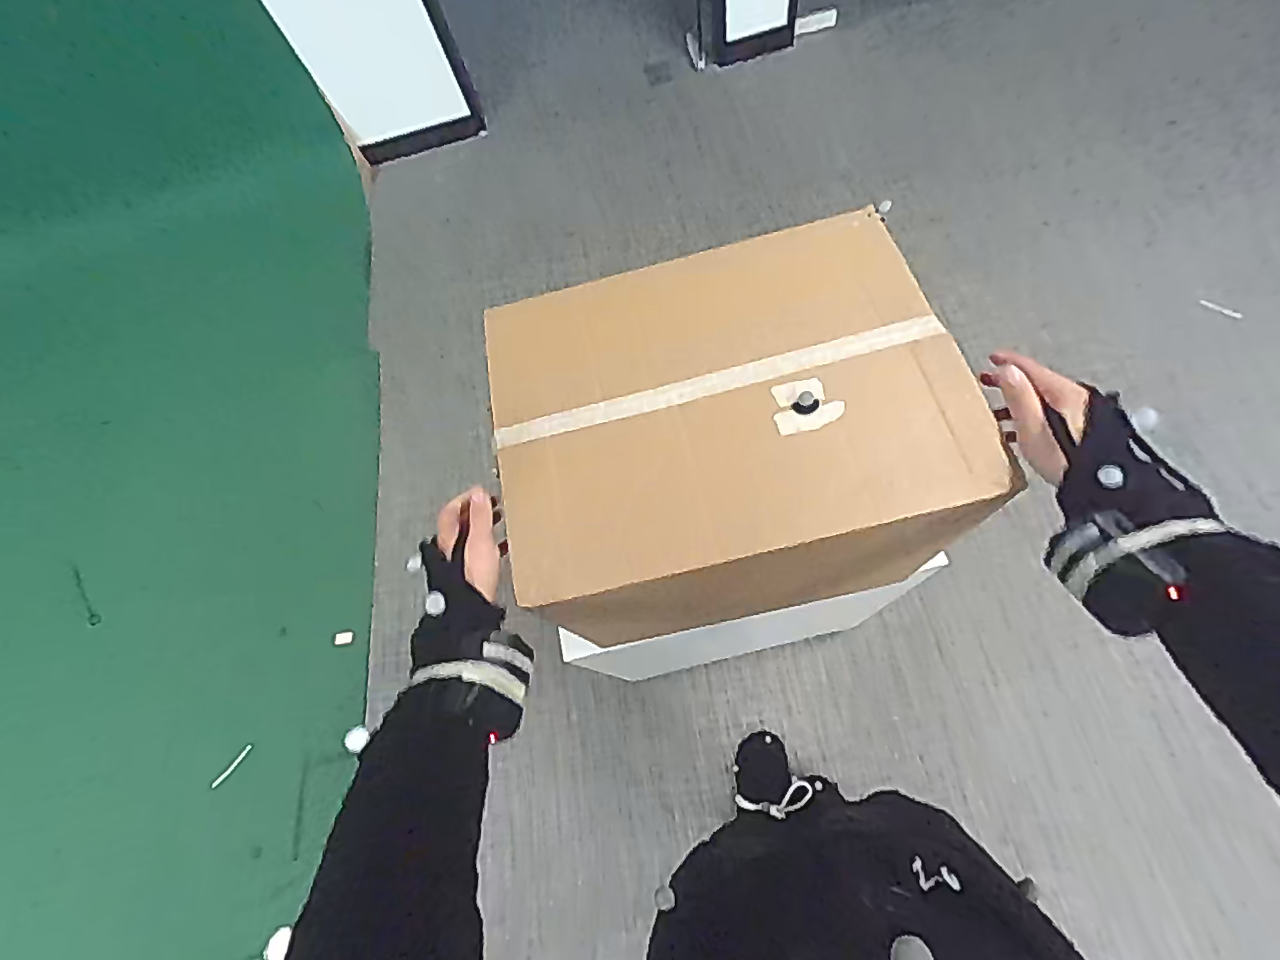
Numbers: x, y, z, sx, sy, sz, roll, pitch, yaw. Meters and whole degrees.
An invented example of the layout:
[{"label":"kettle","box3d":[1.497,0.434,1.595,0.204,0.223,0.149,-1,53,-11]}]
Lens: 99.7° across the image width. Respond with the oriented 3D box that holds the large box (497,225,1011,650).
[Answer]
[{"label":"large box","box3d":[0.090,-0.019,0.628,0.408,0.320,0.320,-14,66,2]}]
